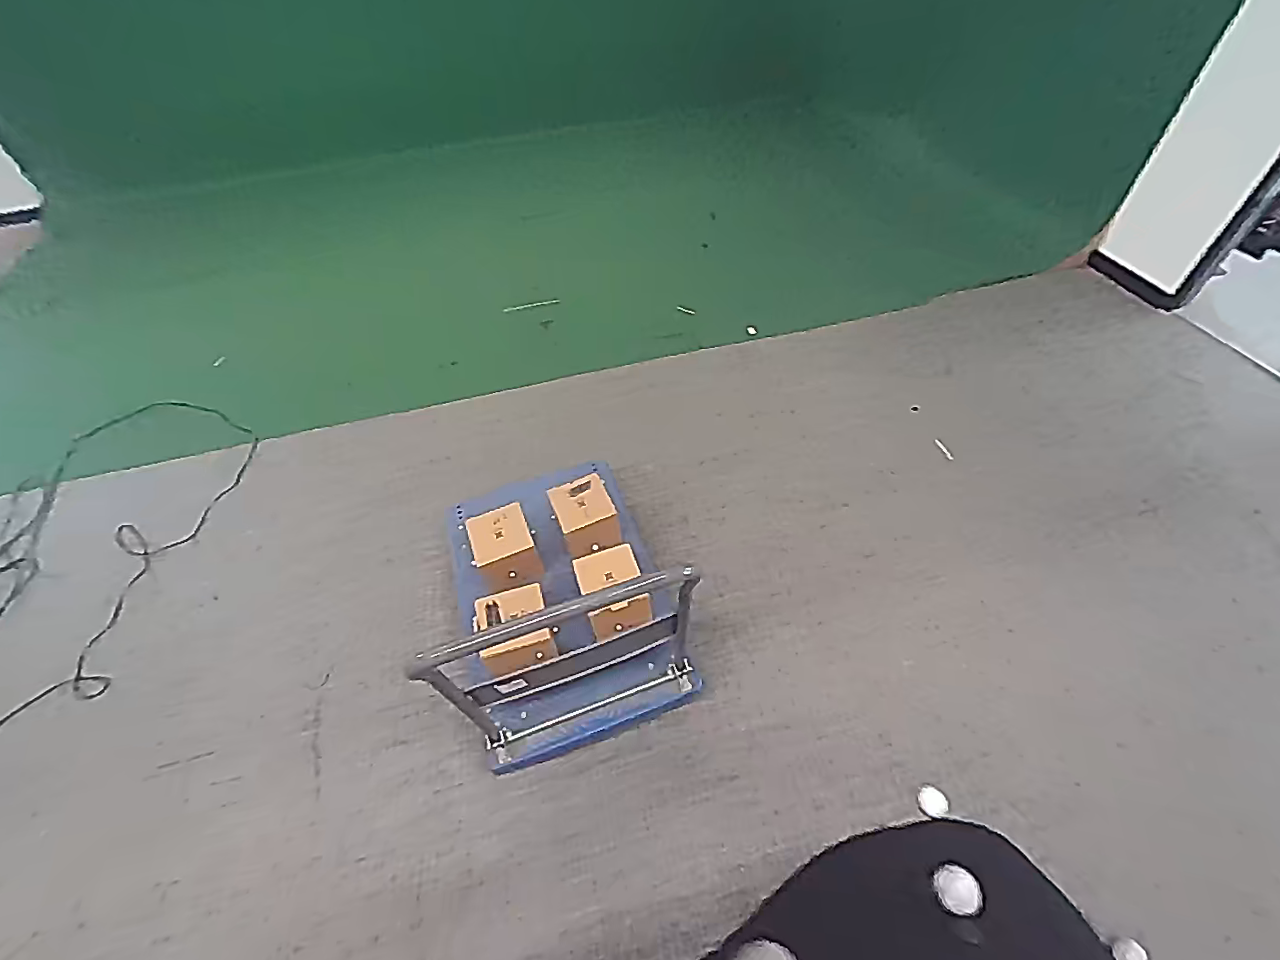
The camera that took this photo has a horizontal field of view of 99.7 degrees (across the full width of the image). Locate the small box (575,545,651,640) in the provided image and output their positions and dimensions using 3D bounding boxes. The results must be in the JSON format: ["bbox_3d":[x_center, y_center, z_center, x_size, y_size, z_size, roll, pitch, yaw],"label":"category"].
[{"bbox_3d":[-0.073,0.314,1.499,0.168,0.176,0.179,-17,52,-9],"label":"small box"}]

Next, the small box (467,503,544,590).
[{"bbox_3d":[-0.396,0.205,1.609,0.168,0.176,0.179,-20,52,-12],"label":"small box"}]

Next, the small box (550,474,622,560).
[{"bbox_3d":[-0.164,0.118,1.661,0.168,0.176,0.179,-21,54,-11],"label":"small box"}]
